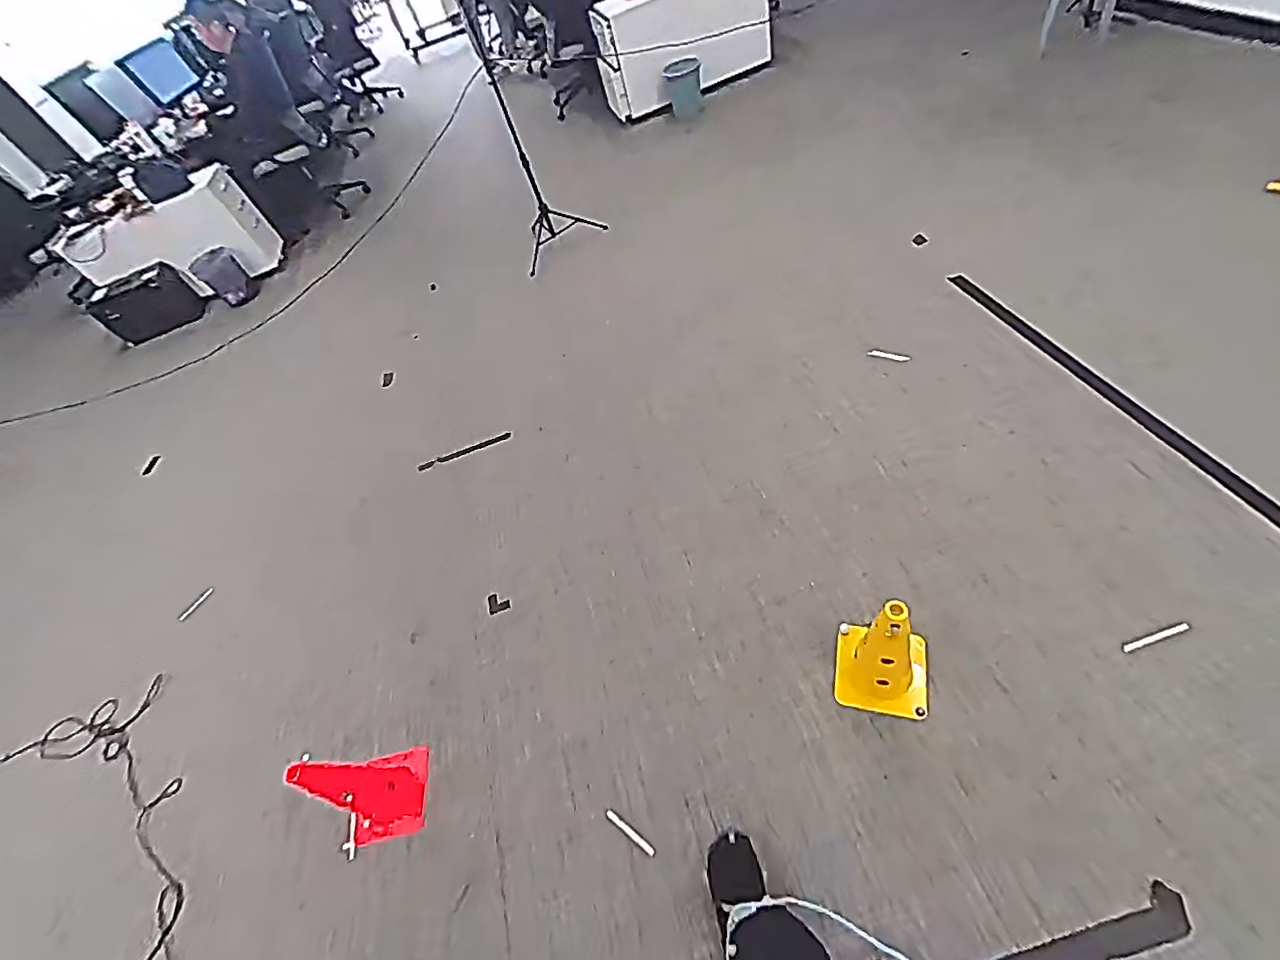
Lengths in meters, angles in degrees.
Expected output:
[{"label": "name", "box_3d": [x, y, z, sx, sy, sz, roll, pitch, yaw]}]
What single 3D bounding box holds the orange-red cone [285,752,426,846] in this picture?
[{"label": "orange-red cone", "box_3d": [-0.701, 0.737, 1.294, 0.199, 0.360, 0.198, -15, 51, 5]}]
